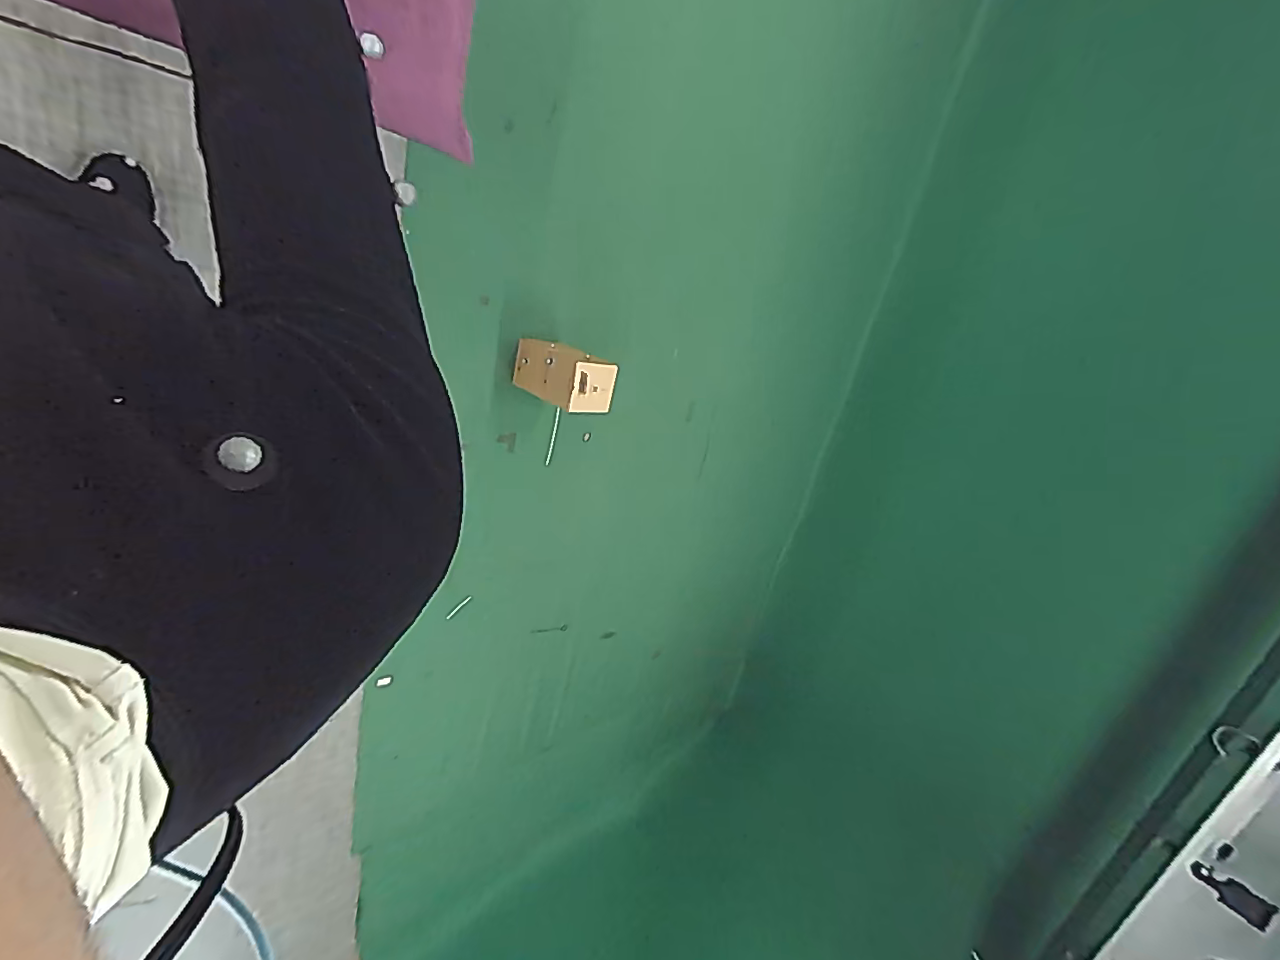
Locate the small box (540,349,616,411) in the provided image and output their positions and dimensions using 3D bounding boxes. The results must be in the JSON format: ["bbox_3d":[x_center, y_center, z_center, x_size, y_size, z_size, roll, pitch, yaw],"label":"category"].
[{"bbox_3d":[-0.211,-0.335,1.812,0.179,0.176,0.168,-7,118,-46],"label":"small box"}]

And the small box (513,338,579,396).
[{"bbox_3d":[-0.322,-0.398,1.913,0.179,0.176,0.168,-6,118,-45],"label":"small box"}]
